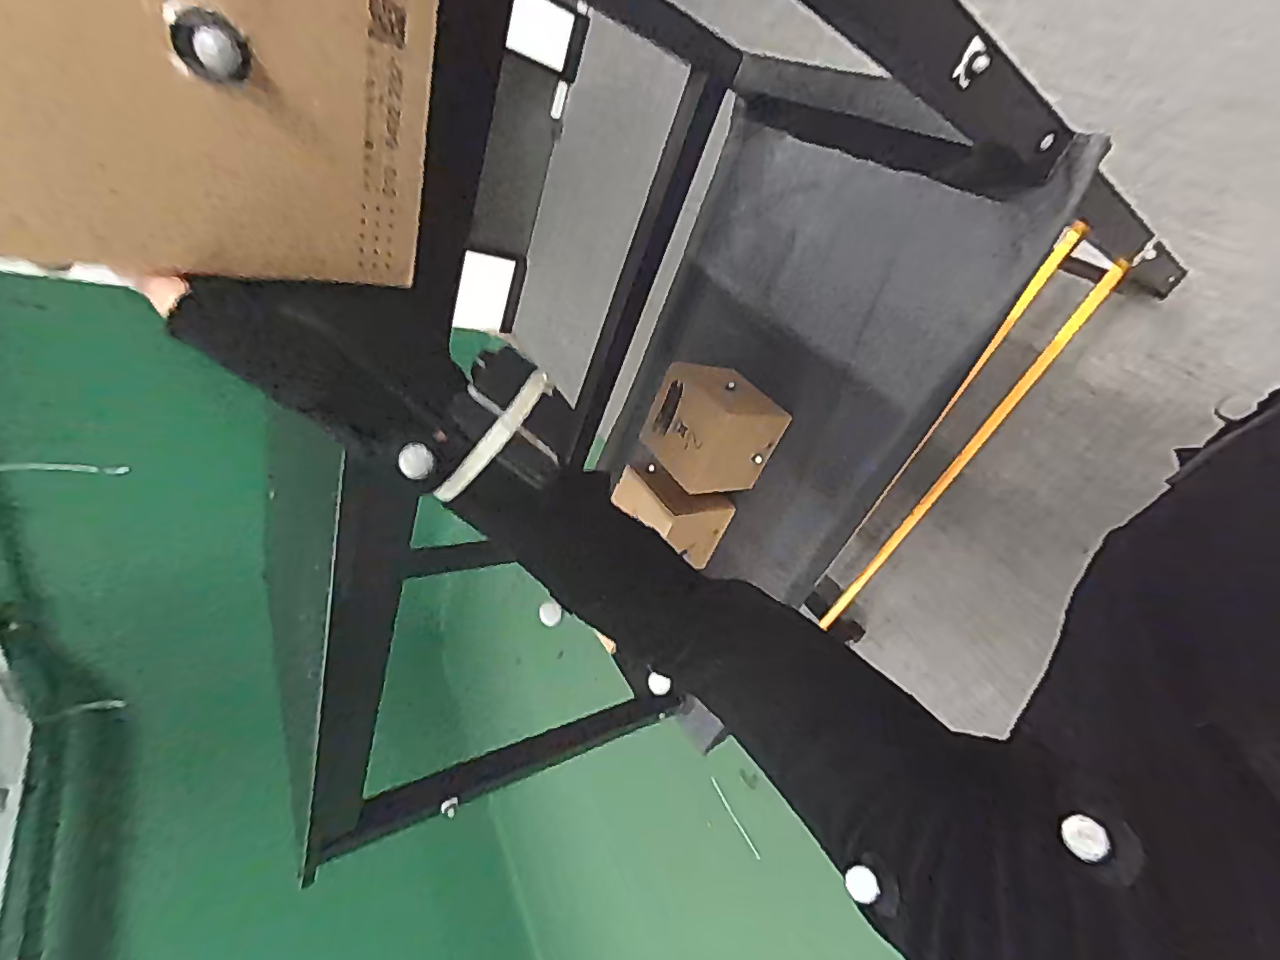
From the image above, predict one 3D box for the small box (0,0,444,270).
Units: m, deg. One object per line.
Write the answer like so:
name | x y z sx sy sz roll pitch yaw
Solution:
small box | -0.203 -0.199 0.229 0.179 0.176 0.168 37 123 29
